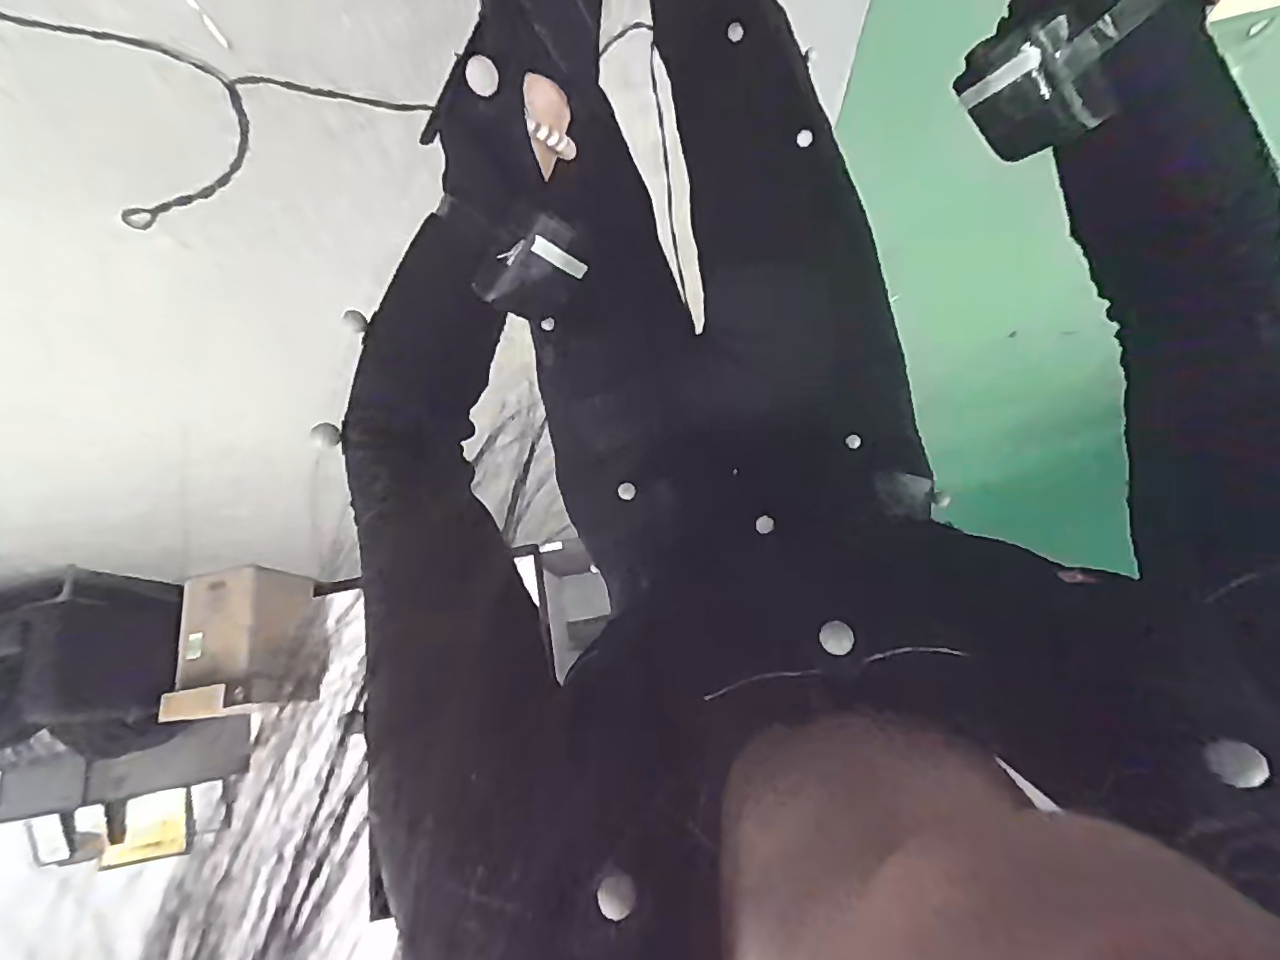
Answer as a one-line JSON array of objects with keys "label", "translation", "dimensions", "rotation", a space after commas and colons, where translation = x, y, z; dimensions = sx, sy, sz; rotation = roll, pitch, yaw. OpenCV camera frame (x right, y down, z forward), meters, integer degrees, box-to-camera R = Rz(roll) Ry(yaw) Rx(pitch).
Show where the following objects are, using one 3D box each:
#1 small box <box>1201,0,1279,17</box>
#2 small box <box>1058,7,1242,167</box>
[{"label": "small box", "translation": [0.936, -0.831, 0.784], "dimensions": [0.179, 0.176, 0.168], "rotation": [-10, 161, 2]}, {"label": "small box", "translation": [0.953, -0.747, 1.037], "dimensions": [0.168, 0.176, 0.179], "rotation": [-10, 161, -1]}]
